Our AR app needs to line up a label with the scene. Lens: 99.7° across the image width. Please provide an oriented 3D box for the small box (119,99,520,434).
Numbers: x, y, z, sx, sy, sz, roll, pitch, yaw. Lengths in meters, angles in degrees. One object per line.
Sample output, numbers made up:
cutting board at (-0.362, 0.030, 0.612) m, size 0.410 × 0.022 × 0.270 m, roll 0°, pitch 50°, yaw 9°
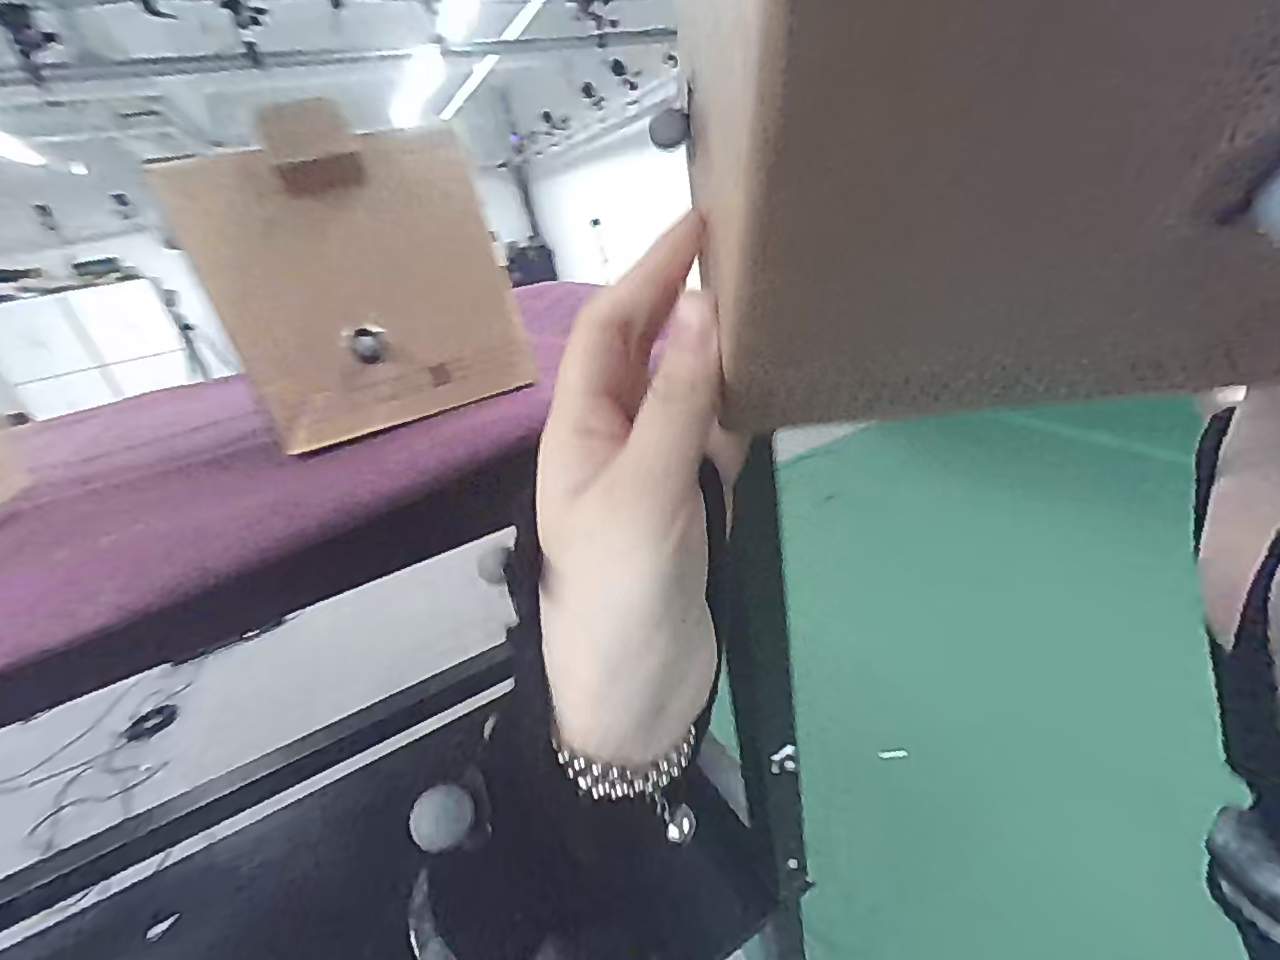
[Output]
small box at (-0.204, -0.145, 0.394) m, size 0.168 × 0.176 × 0.179 m, roll -22°, pitch 26°, yaw -18°
